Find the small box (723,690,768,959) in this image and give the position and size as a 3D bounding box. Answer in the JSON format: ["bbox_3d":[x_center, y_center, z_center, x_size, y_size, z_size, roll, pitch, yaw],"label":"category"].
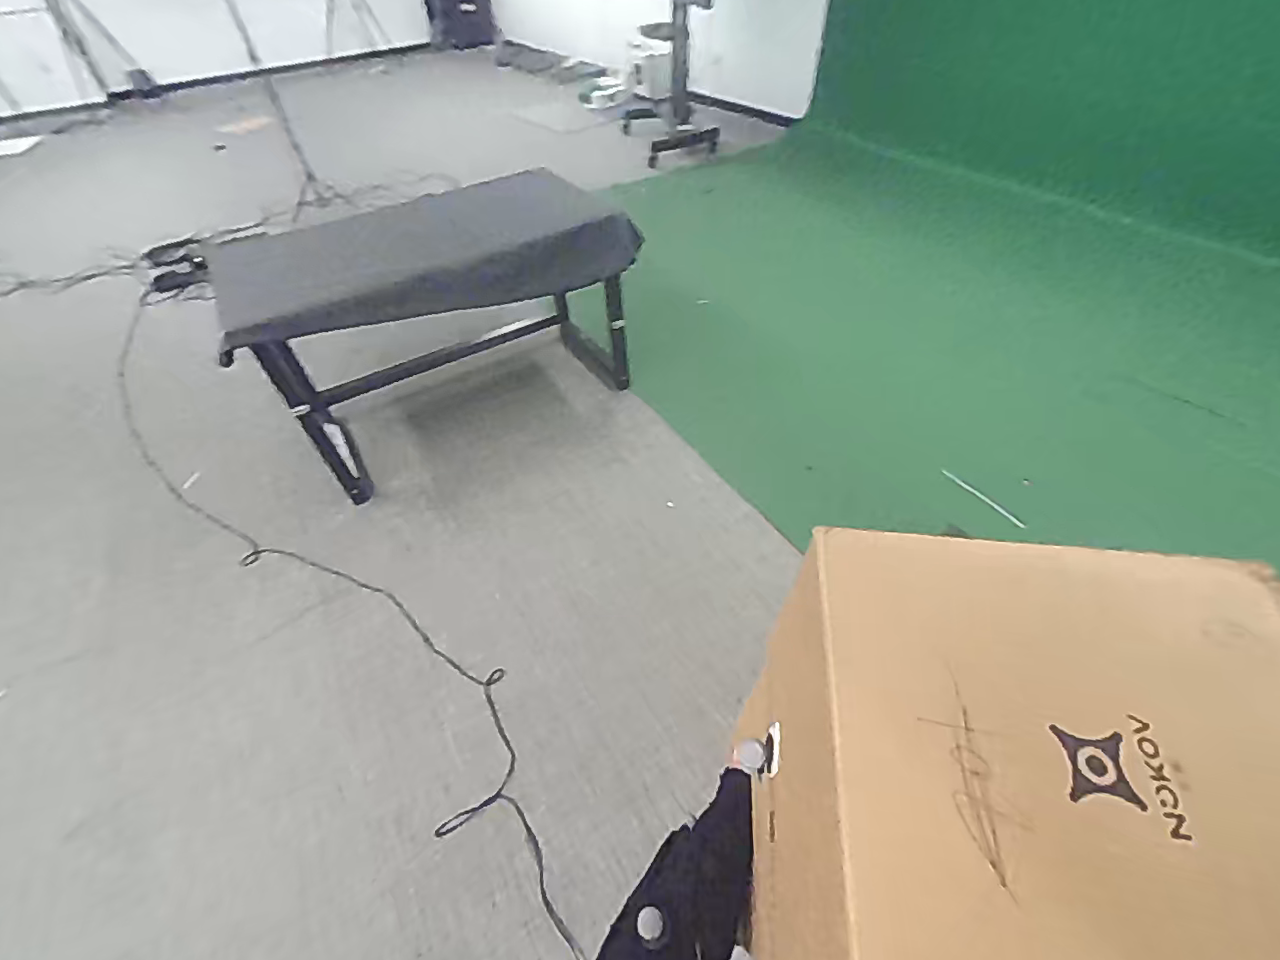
[{"bbox_3d":[0.158,0.235,0.382,0.179,0.176,0.168,5,55,5],"label":"small box"}]

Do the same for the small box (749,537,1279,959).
[{"bbox_3d":[0.150,0.141,0.251,0.179,0.176,0.168,2,55,6],"label":"small box"}]
